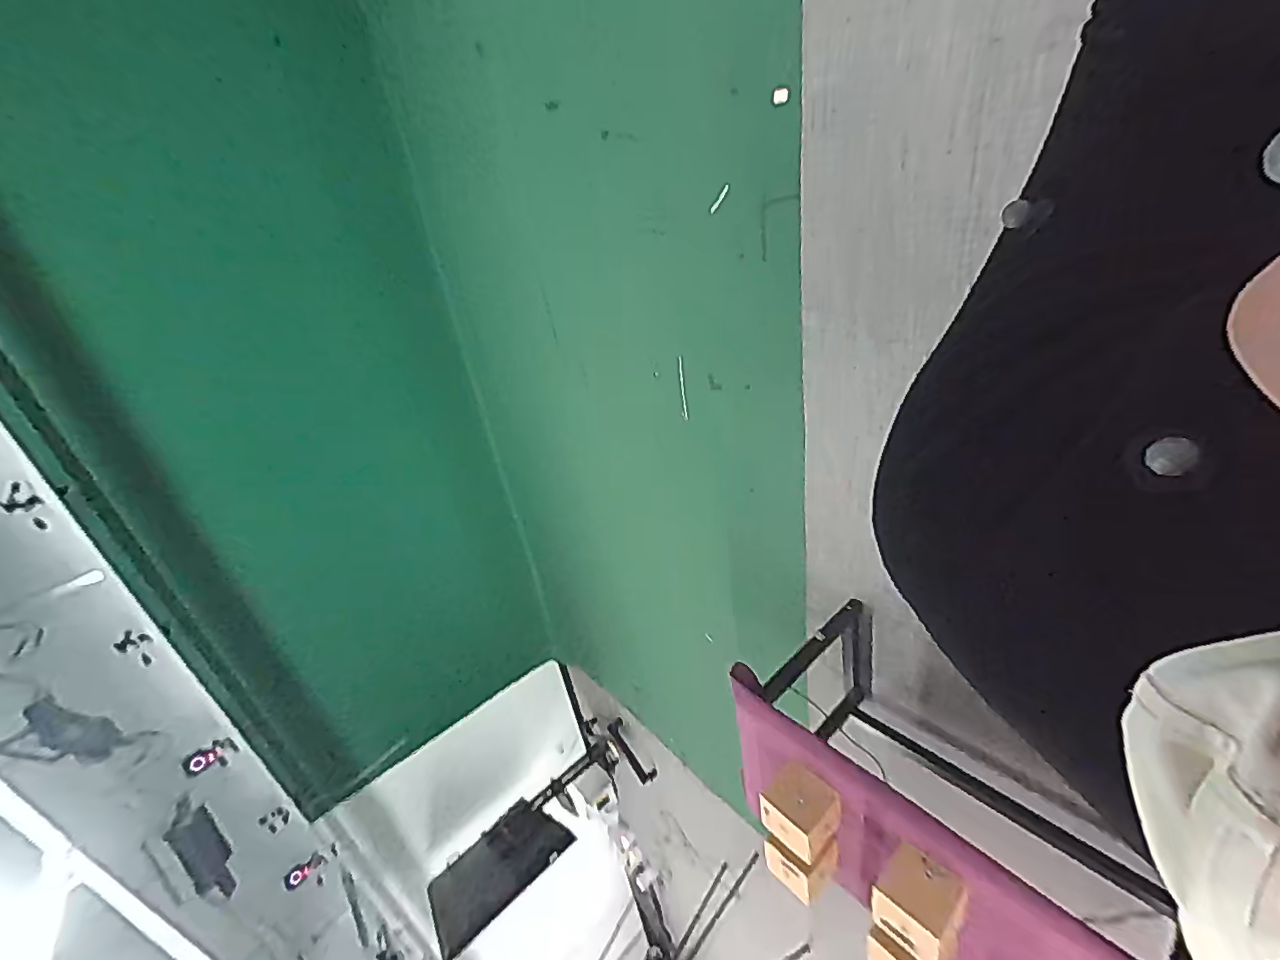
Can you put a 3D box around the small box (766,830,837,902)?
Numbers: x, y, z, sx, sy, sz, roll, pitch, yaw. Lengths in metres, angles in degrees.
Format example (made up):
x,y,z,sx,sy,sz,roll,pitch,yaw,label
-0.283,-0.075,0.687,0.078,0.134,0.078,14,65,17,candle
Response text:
x,y,z,sx,sy,sz,roll,pitch,yaw,label
0.538,1.226,1.793,0.168,0.176,0.179,23,134,46,small box

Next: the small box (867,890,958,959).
x,y,z,sx,sy,sz,roll,pitch,yaw,label
0.769,1.318,1.533,0.179,0.176,0.168,20,130,47,small box

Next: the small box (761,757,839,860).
x,y,z,sx,sy,sz,roll,pitch,yaw,label
0.498,1.009,1.675,0.179,0.176,0.168,23,133,44,small box
